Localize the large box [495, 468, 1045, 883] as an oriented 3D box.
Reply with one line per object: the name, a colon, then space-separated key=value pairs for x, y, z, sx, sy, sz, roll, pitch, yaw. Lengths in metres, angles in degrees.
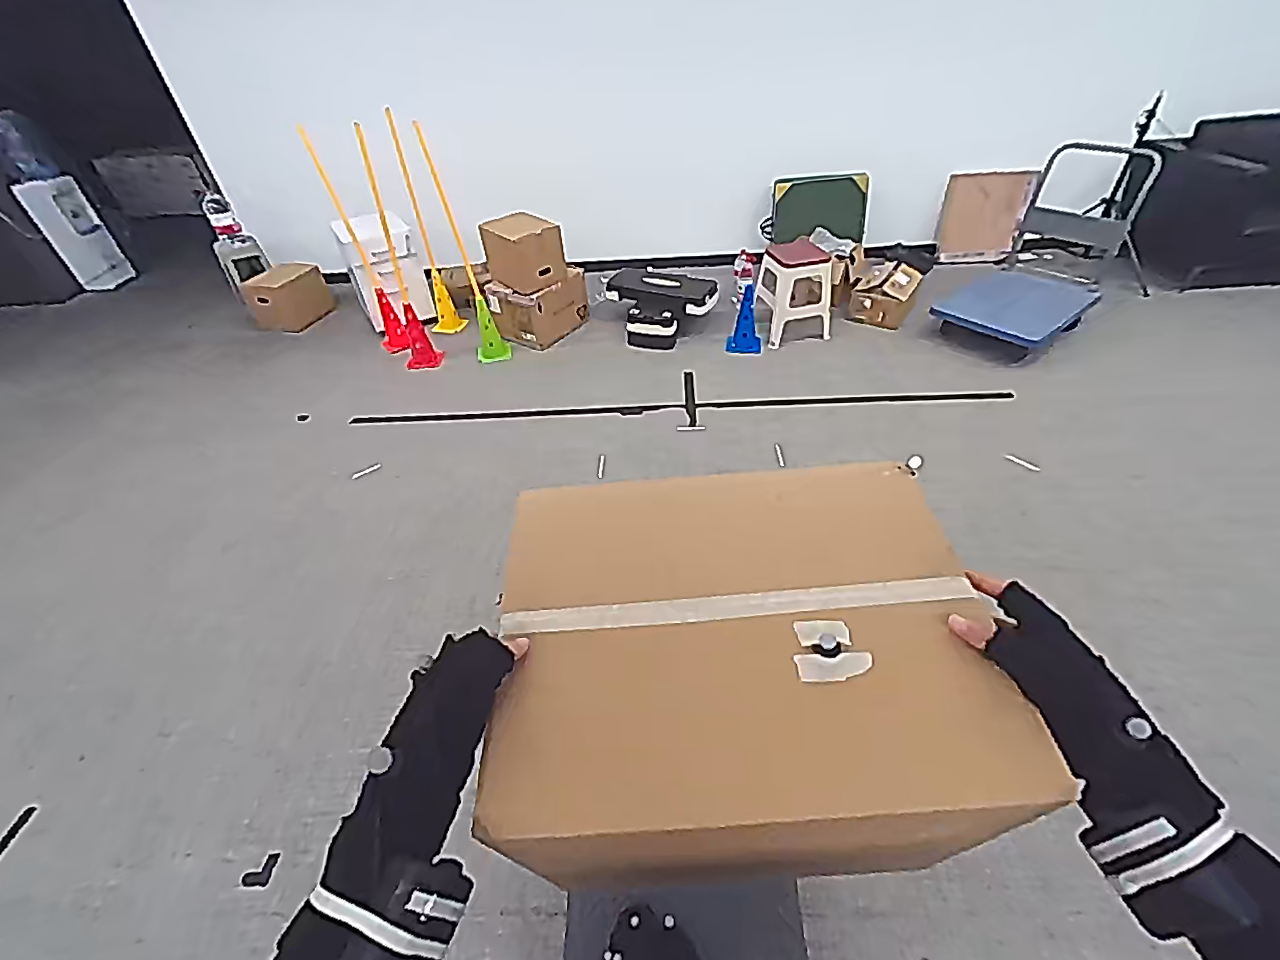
large box: x=0.092 y=0.216 z=0.591 sx=0.408 sy=0.320 sz=0.320 roll=-5 pitch=48 yaw=1
